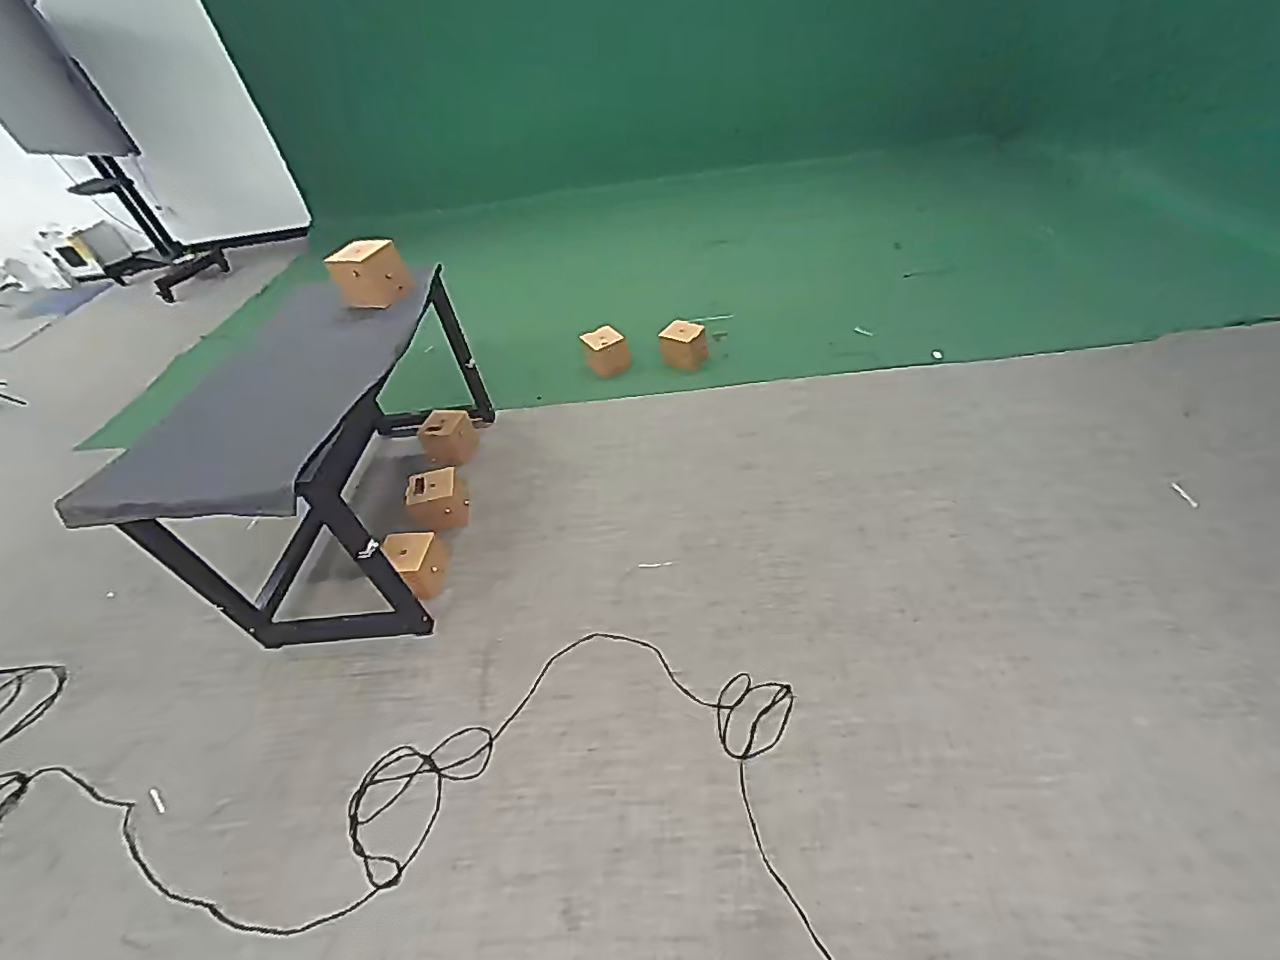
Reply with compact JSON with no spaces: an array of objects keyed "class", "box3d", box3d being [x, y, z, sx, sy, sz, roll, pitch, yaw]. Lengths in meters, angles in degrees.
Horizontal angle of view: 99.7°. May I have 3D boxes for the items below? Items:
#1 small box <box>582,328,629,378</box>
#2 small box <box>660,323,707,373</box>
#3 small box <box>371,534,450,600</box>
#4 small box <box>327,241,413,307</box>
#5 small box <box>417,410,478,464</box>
[{"class":"small box","box3d":[-0.172,-0.639,2.734,0.168,0.176,0.179,-28,46,-18]},{"class":"small box","box3d":[0.220,-0.649,2.675,0.179,0.176,0.168,21,51,29]},{"class":"small box","box3d":[-0.788,0.303,1.878,0.179,0.176,0.168,-3,45,8]},{"class":"small box","box3d":[-0.934,-0.717,1.889,0.179,0.176,0.168,8,47,21]},{"class":"small box","box3d":[-0.840,-0.188,2.385,0.168,0.176,0.179,4,44,13]}]
